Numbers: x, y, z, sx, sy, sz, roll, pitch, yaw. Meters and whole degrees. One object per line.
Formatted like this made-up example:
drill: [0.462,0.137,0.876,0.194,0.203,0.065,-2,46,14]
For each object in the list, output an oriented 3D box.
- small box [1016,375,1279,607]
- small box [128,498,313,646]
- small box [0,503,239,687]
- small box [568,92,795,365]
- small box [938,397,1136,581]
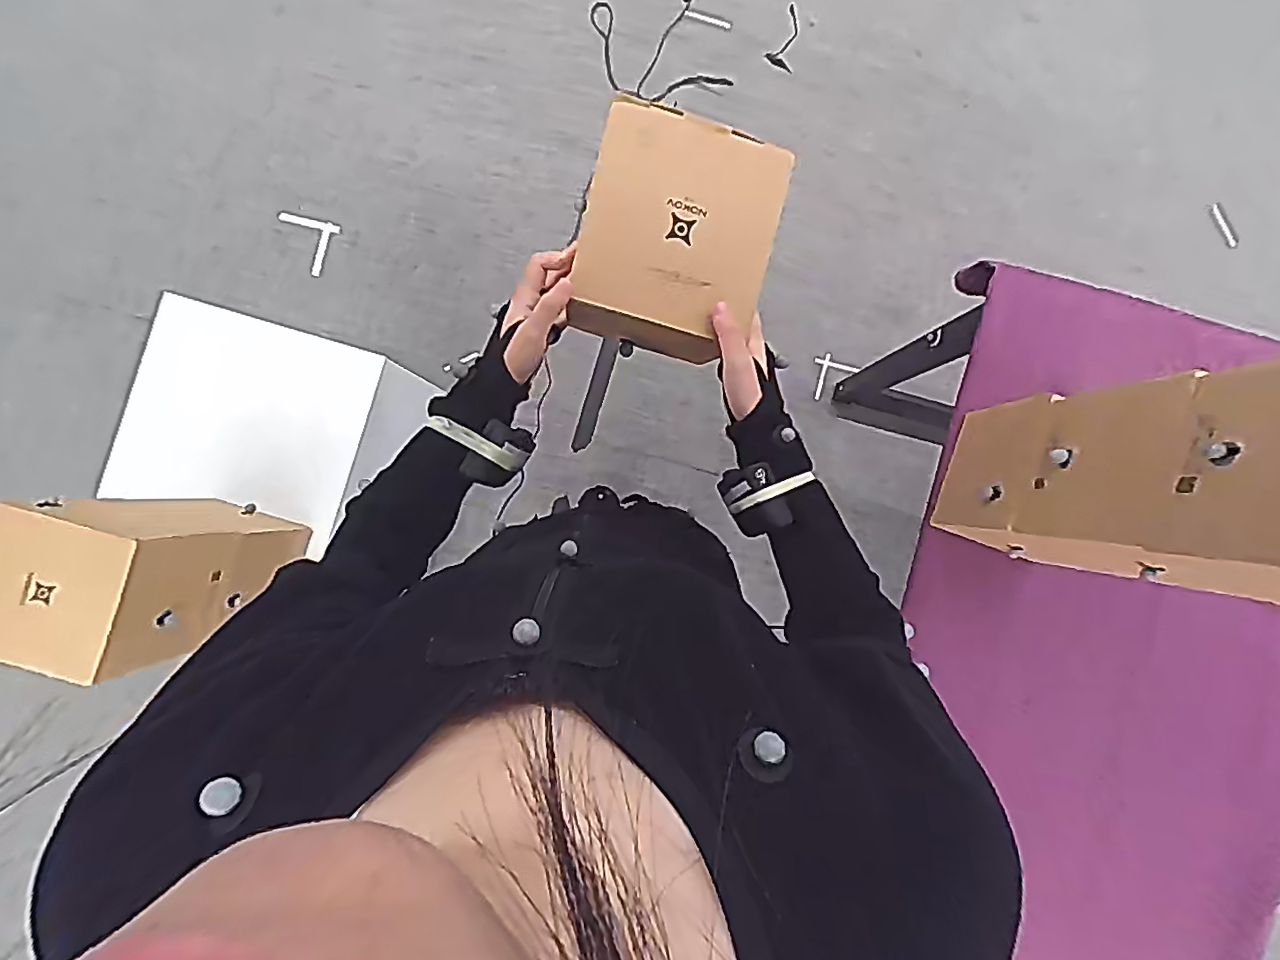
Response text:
small box: [0.538,0.014,0.546,0.179,0.176,0.168,19,88,1]
small box: [-0.651,0.132,0.824,0.179,0.176,0.168,17,87,1]
small box: [-0.646,0.125,0.661,0.179,0.176,0.168,15,88,0]
small box: [0.026,-0.225,0.539,0.168,0.176,0.179,14,95,-9]
small box: [0.528,0.013,0.710,0.168,0.176,0.179,20,88,-1]
